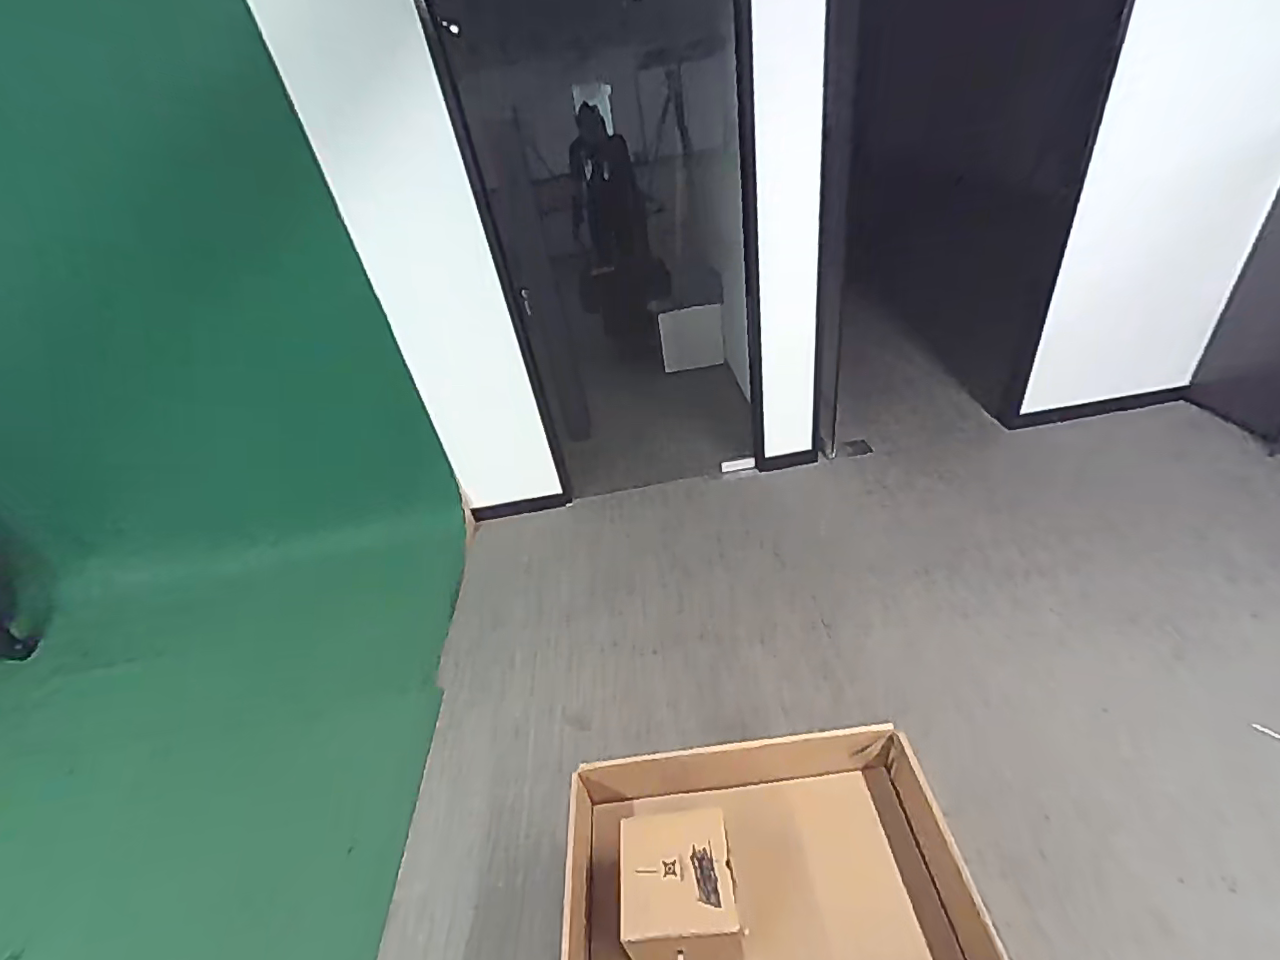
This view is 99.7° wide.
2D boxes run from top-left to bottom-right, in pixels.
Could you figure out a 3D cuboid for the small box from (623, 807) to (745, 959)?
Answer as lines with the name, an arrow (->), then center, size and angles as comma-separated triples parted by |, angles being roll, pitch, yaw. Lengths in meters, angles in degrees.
small box -> 0.073, 0.663, 0.881 | 0.179, 0.176, 0.168 | -9, 35, 5
